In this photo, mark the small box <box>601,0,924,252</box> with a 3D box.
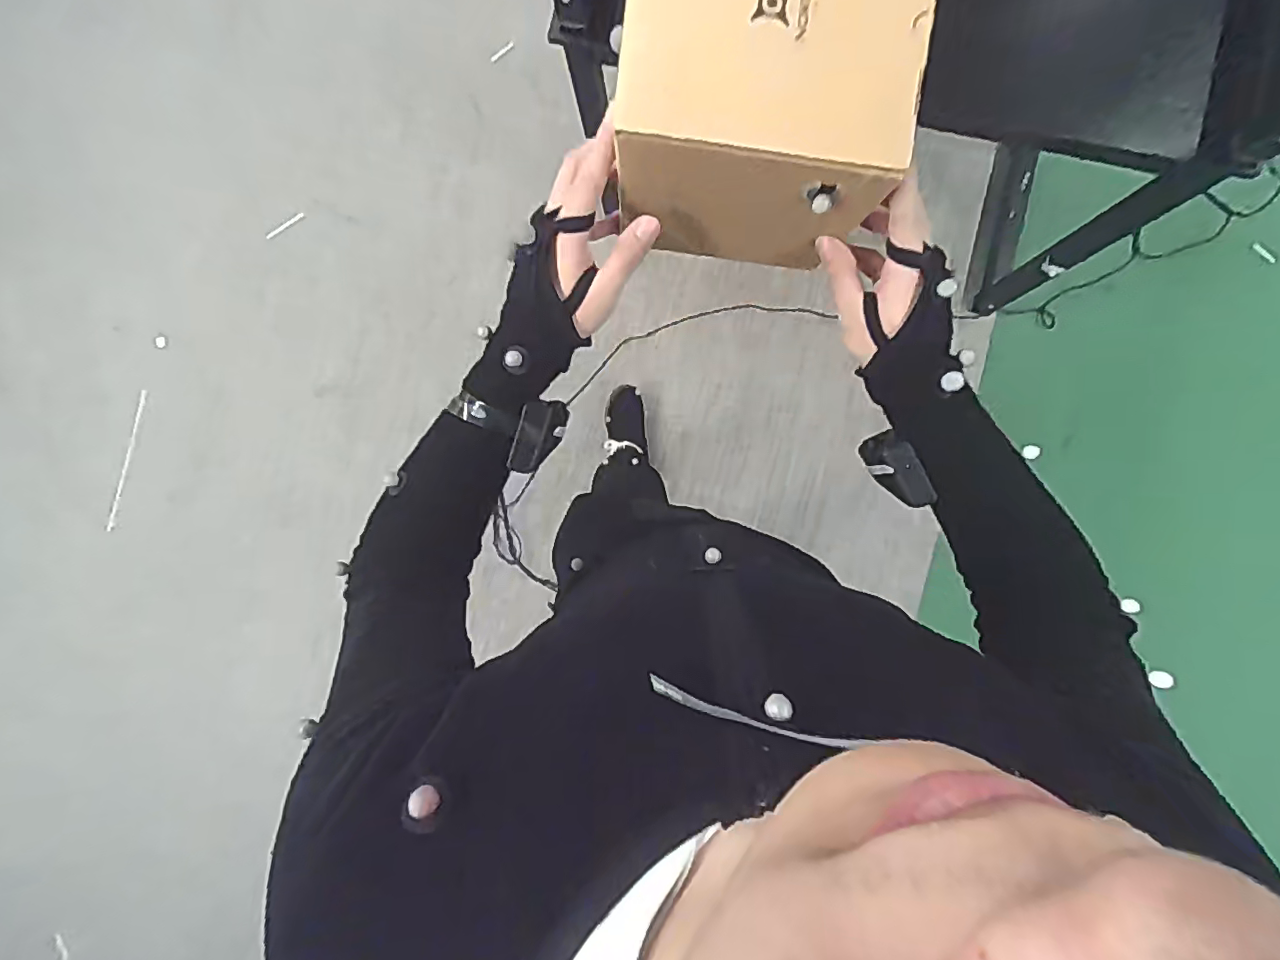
[{"bbox_3d":[0.074,-0.279,0.383,0.179,0.176,0.168,7,93,-1],"label":"small box"}]
